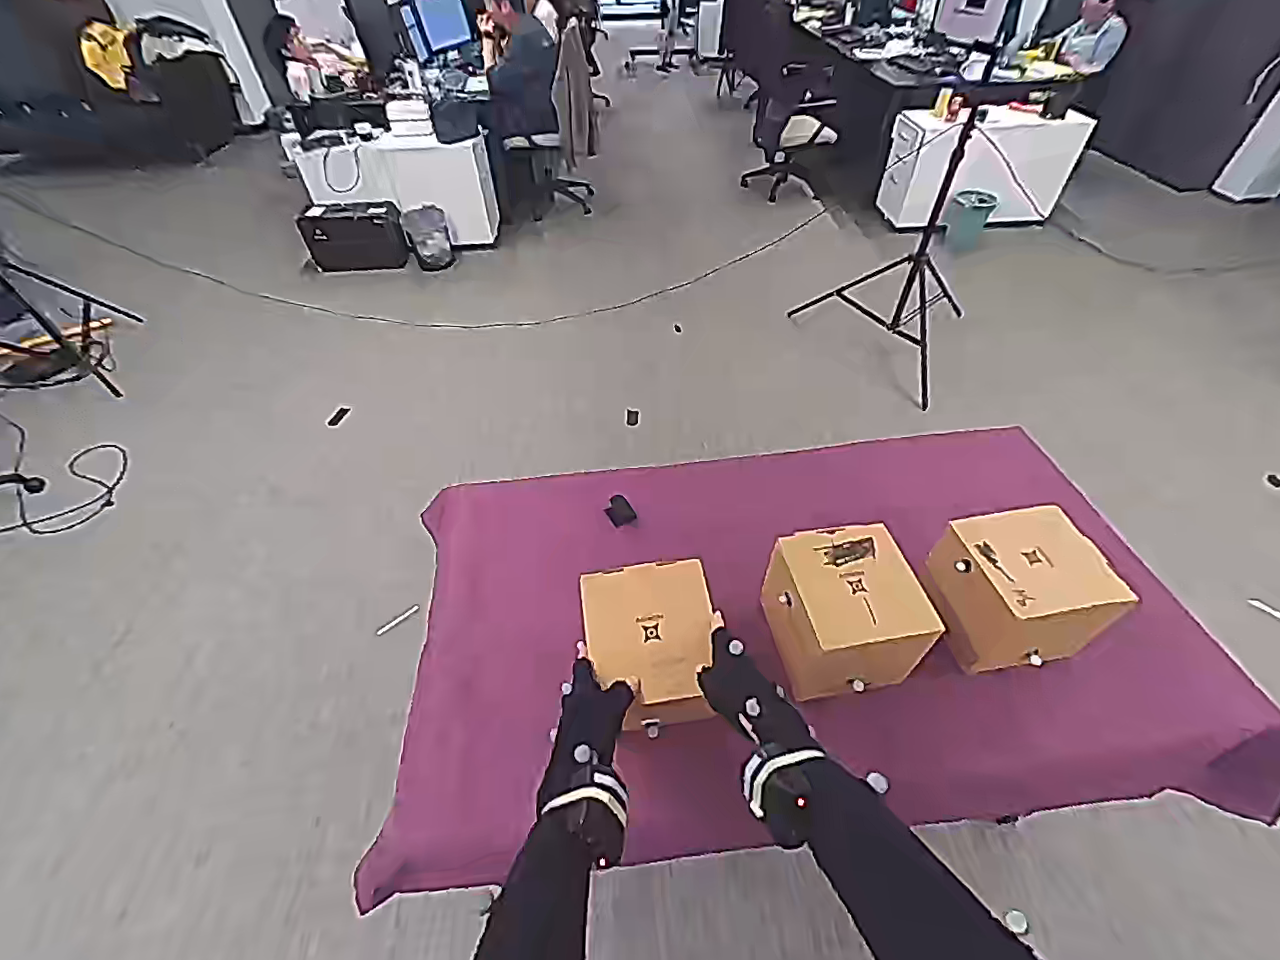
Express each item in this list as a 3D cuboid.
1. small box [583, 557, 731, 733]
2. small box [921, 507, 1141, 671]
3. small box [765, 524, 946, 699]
[{"bbox_3d":[0.016,0.229,0.740,0.168,0.176,0.179,-9,57,-4],"label":"small box"},{"bbox_3d":[0.554,0.163,0.802,0.179,0.176,0.168,-7,46,-5],"label":"small box"},{"bbox_3d":[0.292,0.190,0.783,0.168,0.176,0.179,-8,47,-5],"label":"small box"}]
